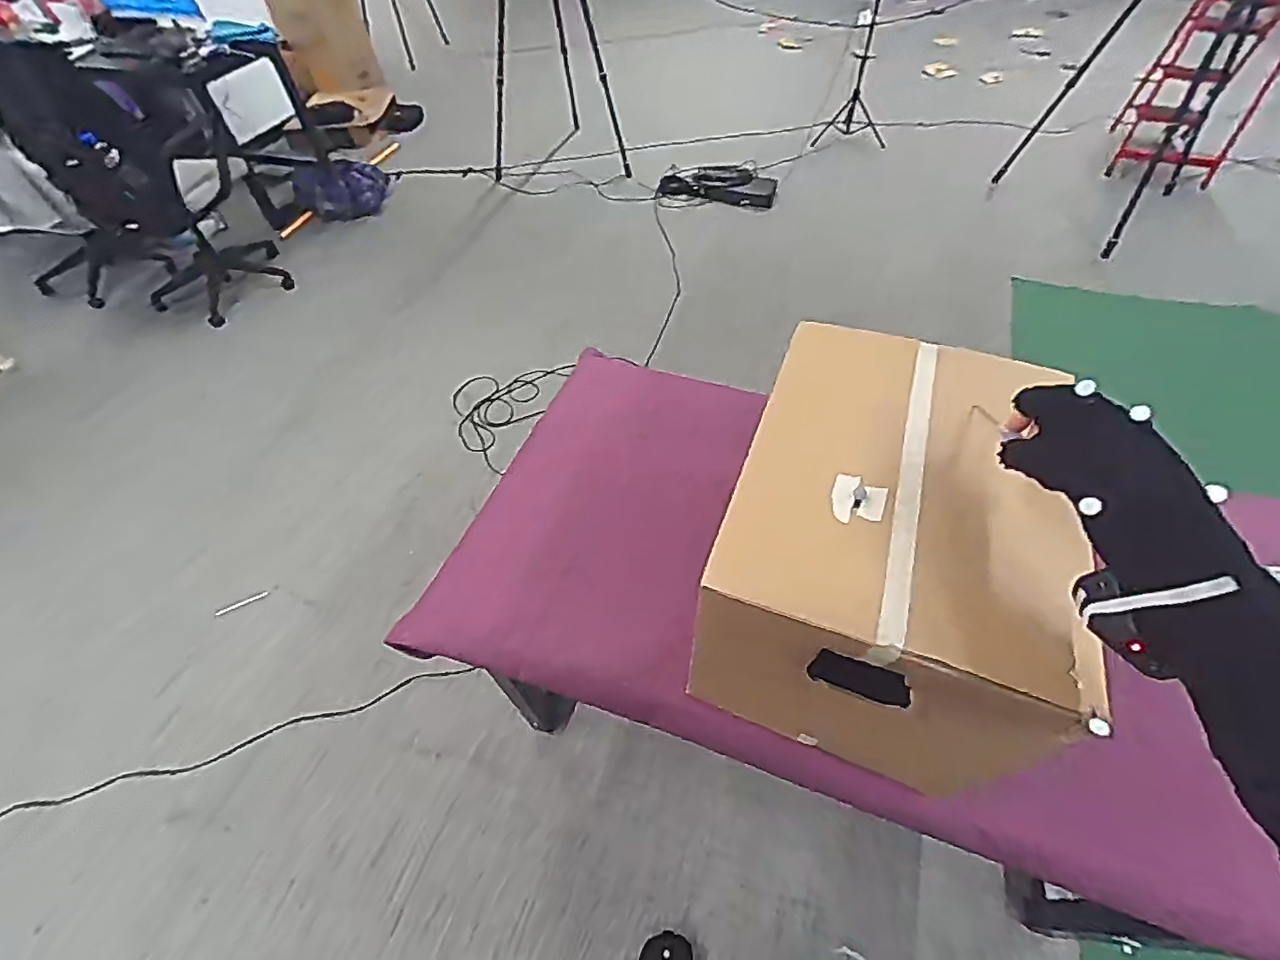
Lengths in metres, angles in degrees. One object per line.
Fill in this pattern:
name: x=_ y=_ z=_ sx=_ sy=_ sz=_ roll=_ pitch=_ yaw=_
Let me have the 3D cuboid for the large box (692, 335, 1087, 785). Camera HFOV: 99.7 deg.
large box: x=0.276 y=0.090 z=0.676 sx=0.320 sy=0.320 sz=0.408 roll=17 pitch=55 yaw=16
